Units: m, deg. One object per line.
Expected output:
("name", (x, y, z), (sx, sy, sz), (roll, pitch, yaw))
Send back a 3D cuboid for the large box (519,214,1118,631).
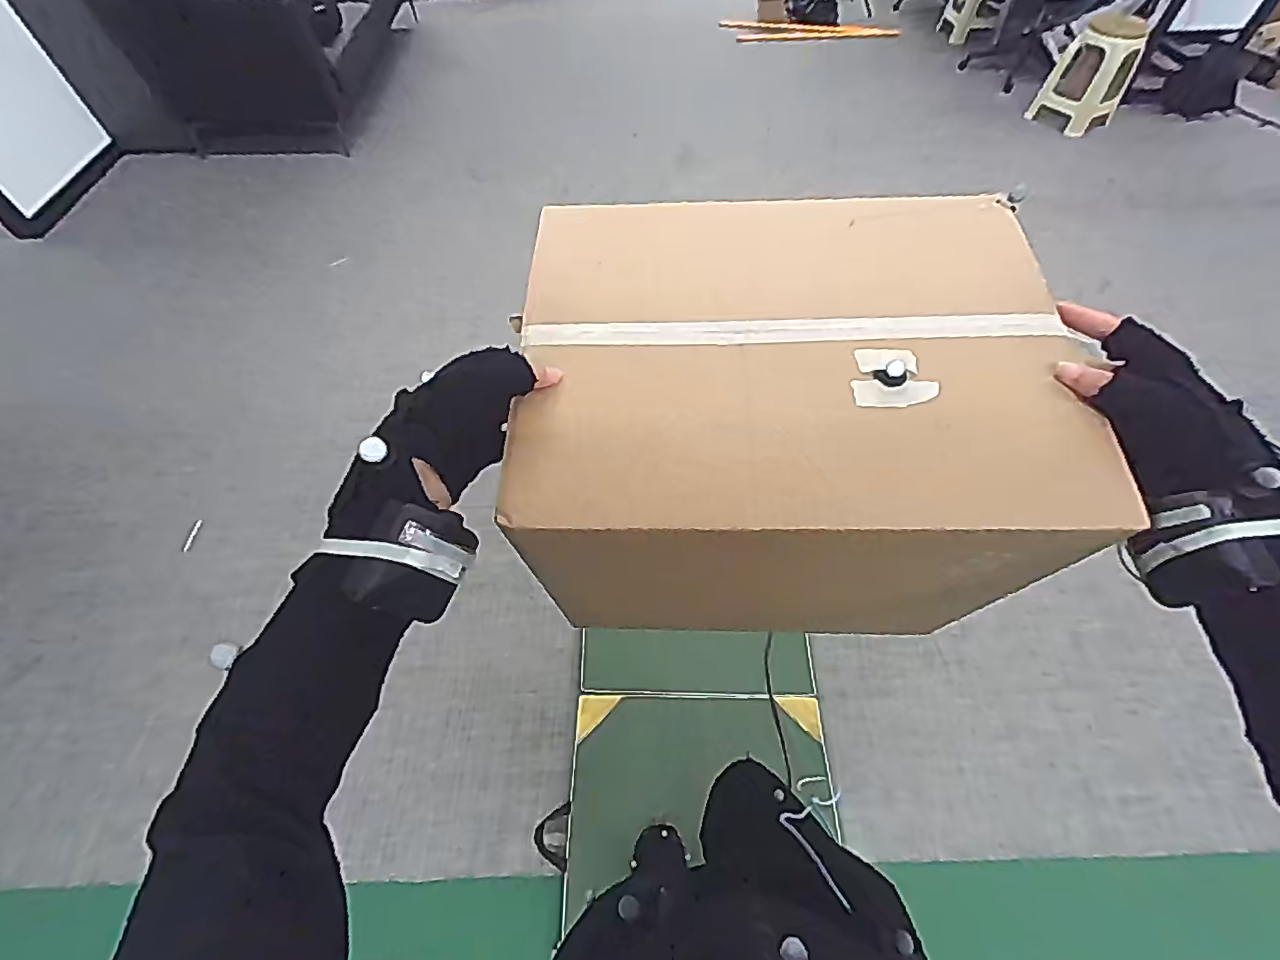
("large box", (0.118, -0.036, 0.556), (0.408, 0.320, 0.320), (0, 63, 2))
